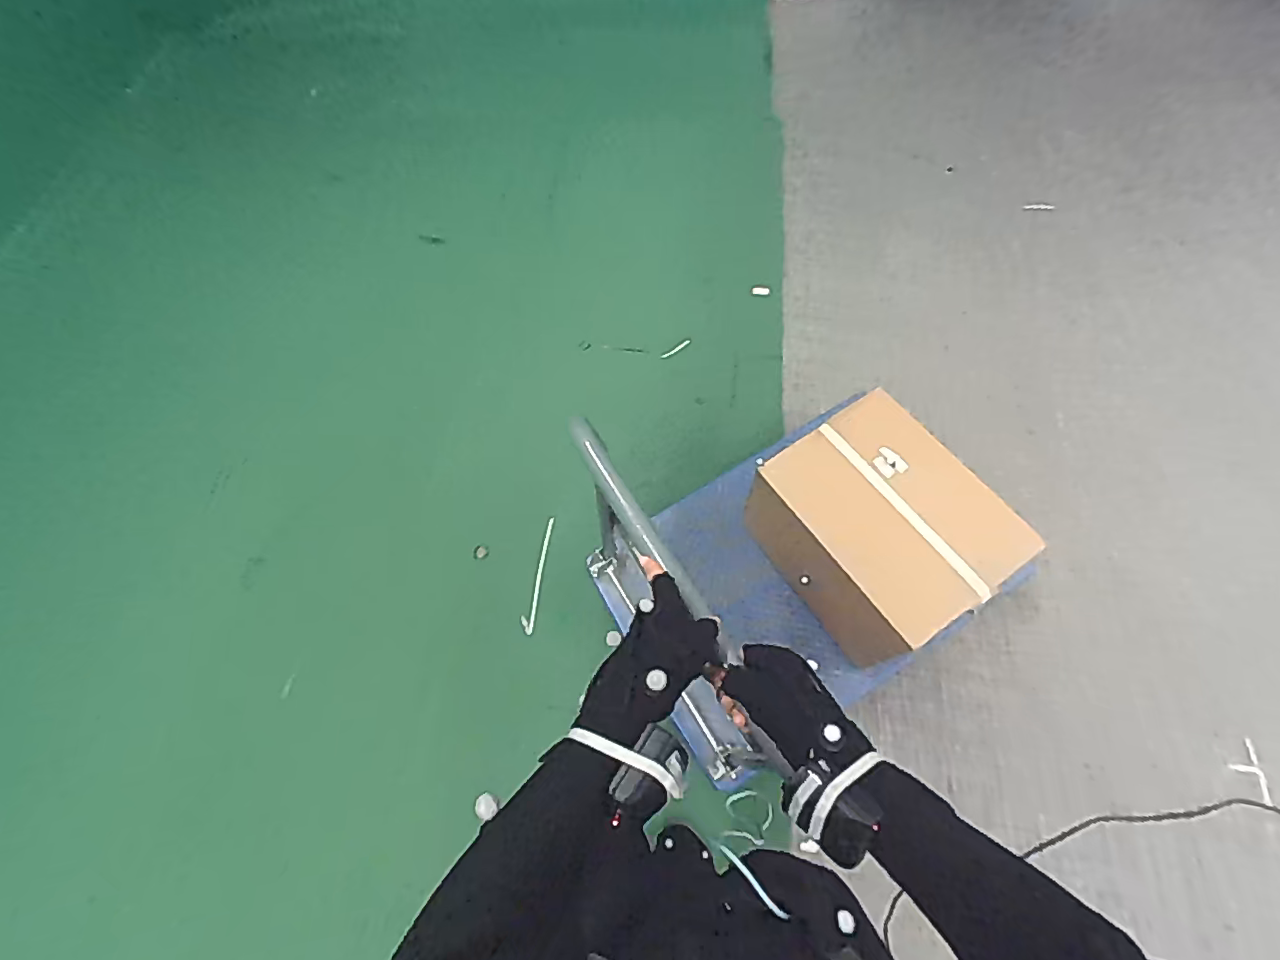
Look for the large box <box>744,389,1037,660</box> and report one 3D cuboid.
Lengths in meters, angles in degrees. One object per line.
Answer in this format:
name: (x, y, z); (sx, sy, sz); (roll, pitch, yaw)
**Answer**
large box: (0.469, 0.102, 1.119); (0.320, 0.320, 0.408); (-32, 66, -11)
